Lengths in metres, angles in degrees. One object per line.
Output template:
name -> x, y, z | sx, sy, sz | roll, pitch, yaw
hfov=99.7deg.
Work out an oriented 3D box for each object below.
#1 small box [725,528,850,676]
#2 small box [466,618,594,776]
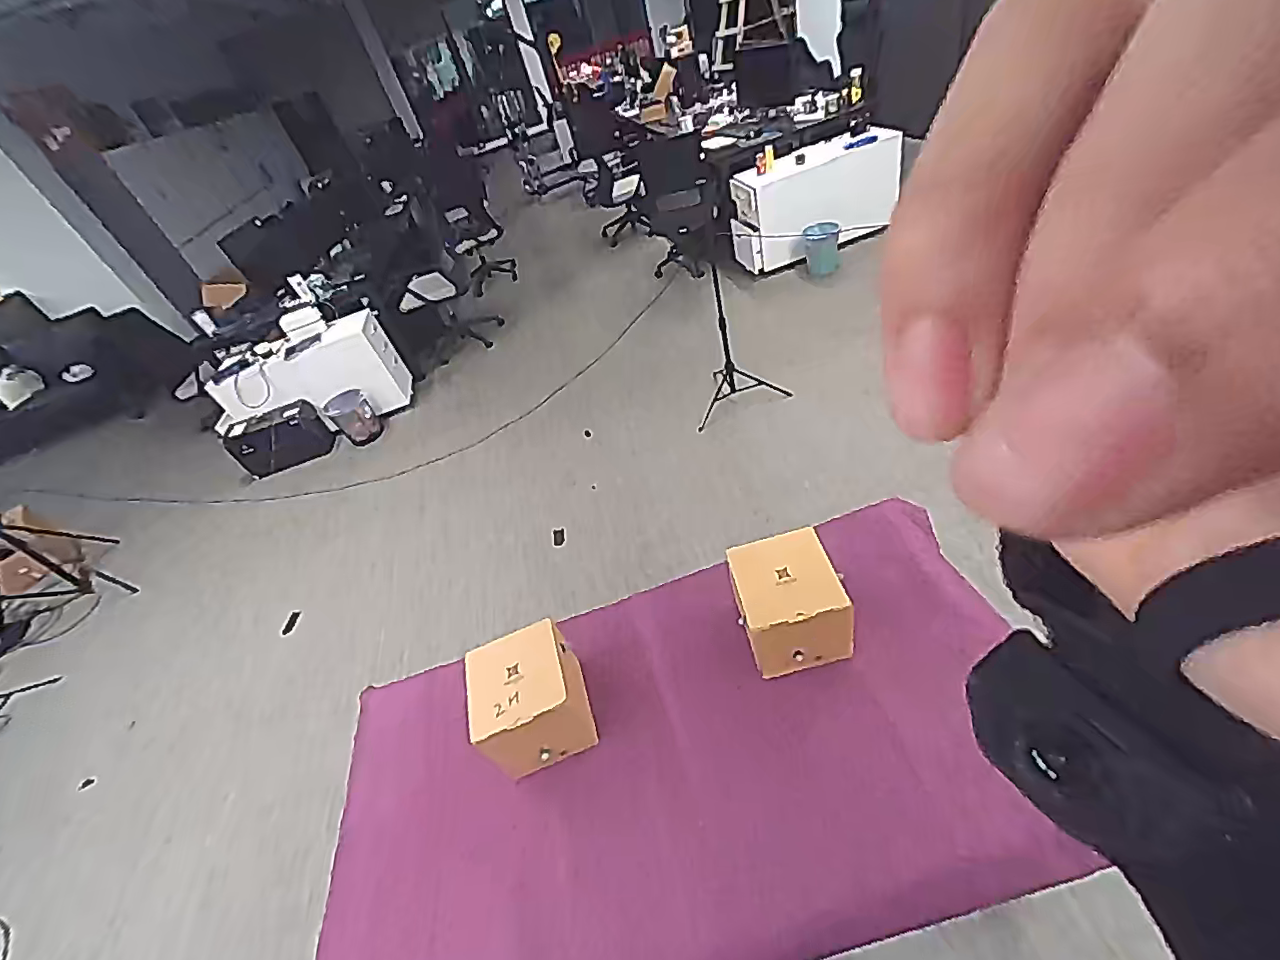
small box -> 0.262, 0.220, 0.974 | 0.168, 0.176, 0.179 | -16, 42, 4
small box -> -0.196, 0.387, 0.964 | 0.168, 0.176, 0.179 | -22, 41, -3
